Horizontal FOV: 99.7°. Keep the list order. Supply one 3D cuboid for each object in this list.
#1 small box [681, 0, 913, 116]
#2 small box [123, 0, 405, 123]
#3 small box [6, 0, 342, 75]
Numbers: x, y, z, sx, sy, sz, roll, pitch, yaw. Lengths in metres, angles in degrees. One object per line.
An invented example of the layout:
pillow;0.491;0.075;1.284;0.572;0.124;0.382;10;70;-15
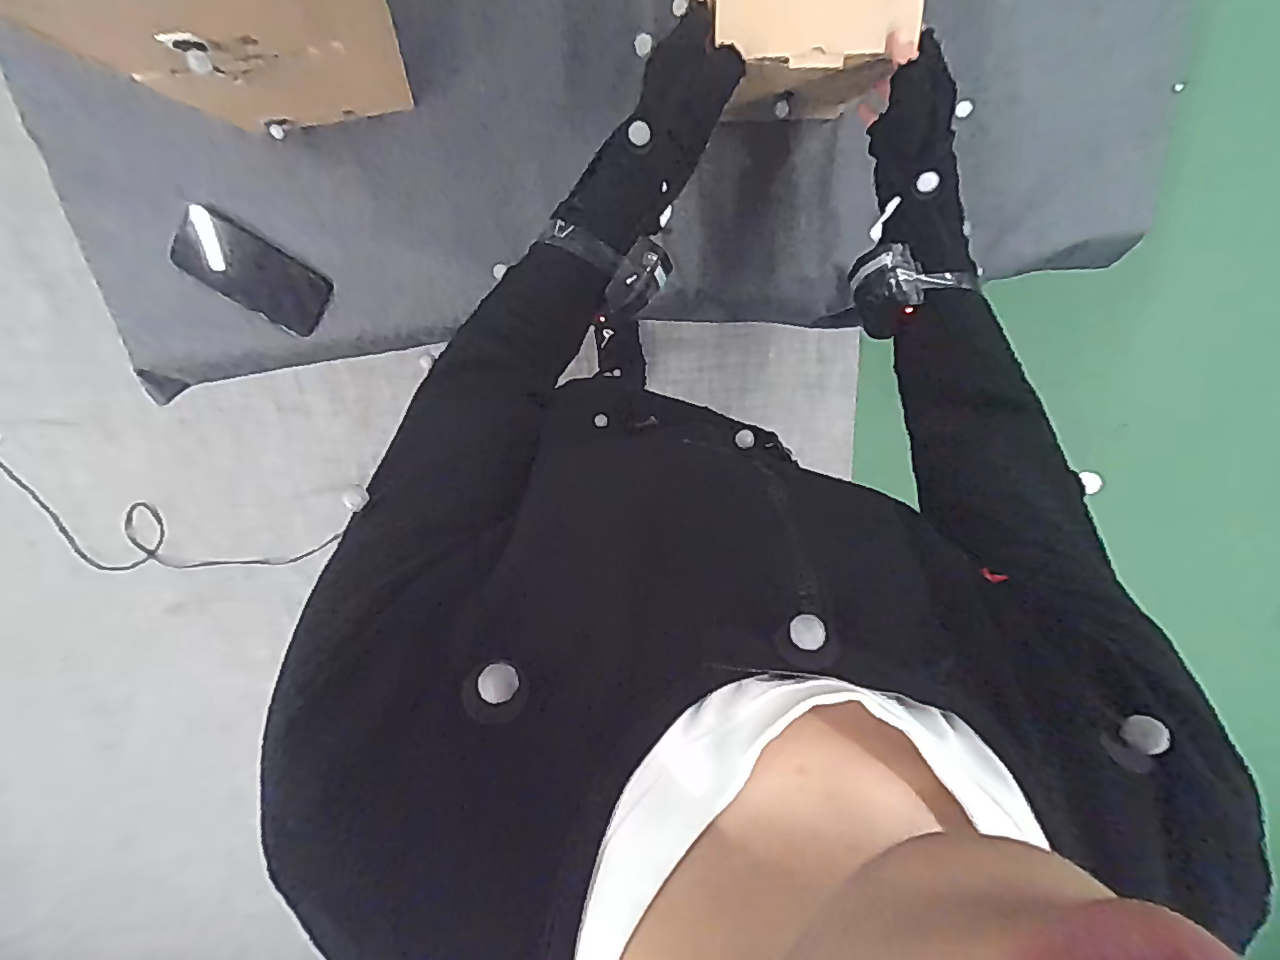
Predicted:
small box;0.129;-0.444;0.483;0.168;0.176;0.179;-3;111;-2
small box;-0.323;-0.425;0.455;0.168;0.176;0.179;-10;110;-1
small box;-0.308;-0.370;0.304;0.168;0.176;0.179;-11;112;0
